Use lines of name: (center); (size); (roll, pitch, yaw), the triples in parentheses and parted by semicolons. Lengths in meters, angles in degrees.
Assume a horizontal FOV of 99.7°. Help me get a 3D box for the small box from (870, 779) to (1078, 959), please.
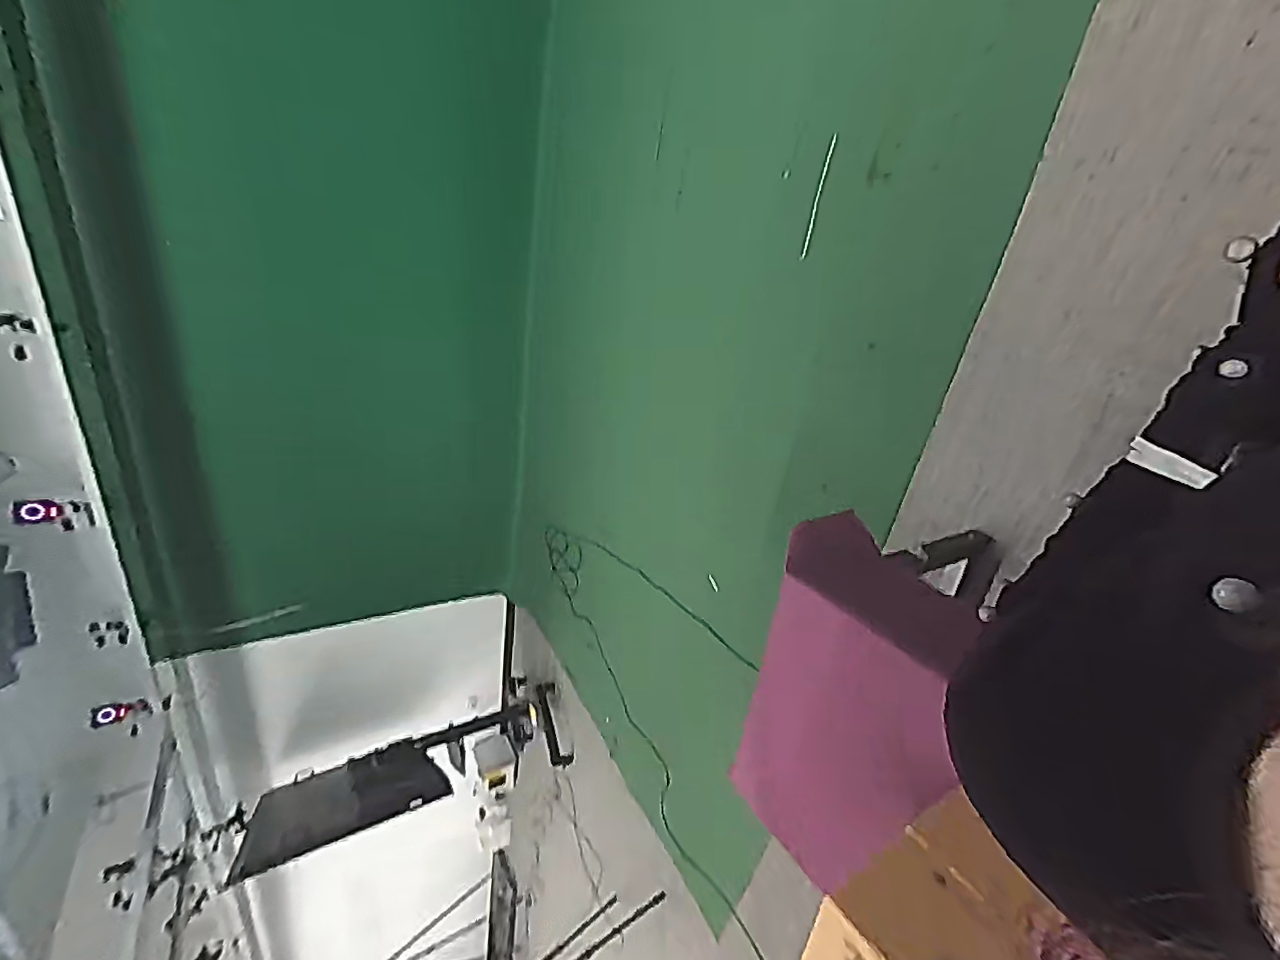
small box: (0.466, 0.571, 0.763); (0.168, 0.176, 0.179); (38, 128, 48)
